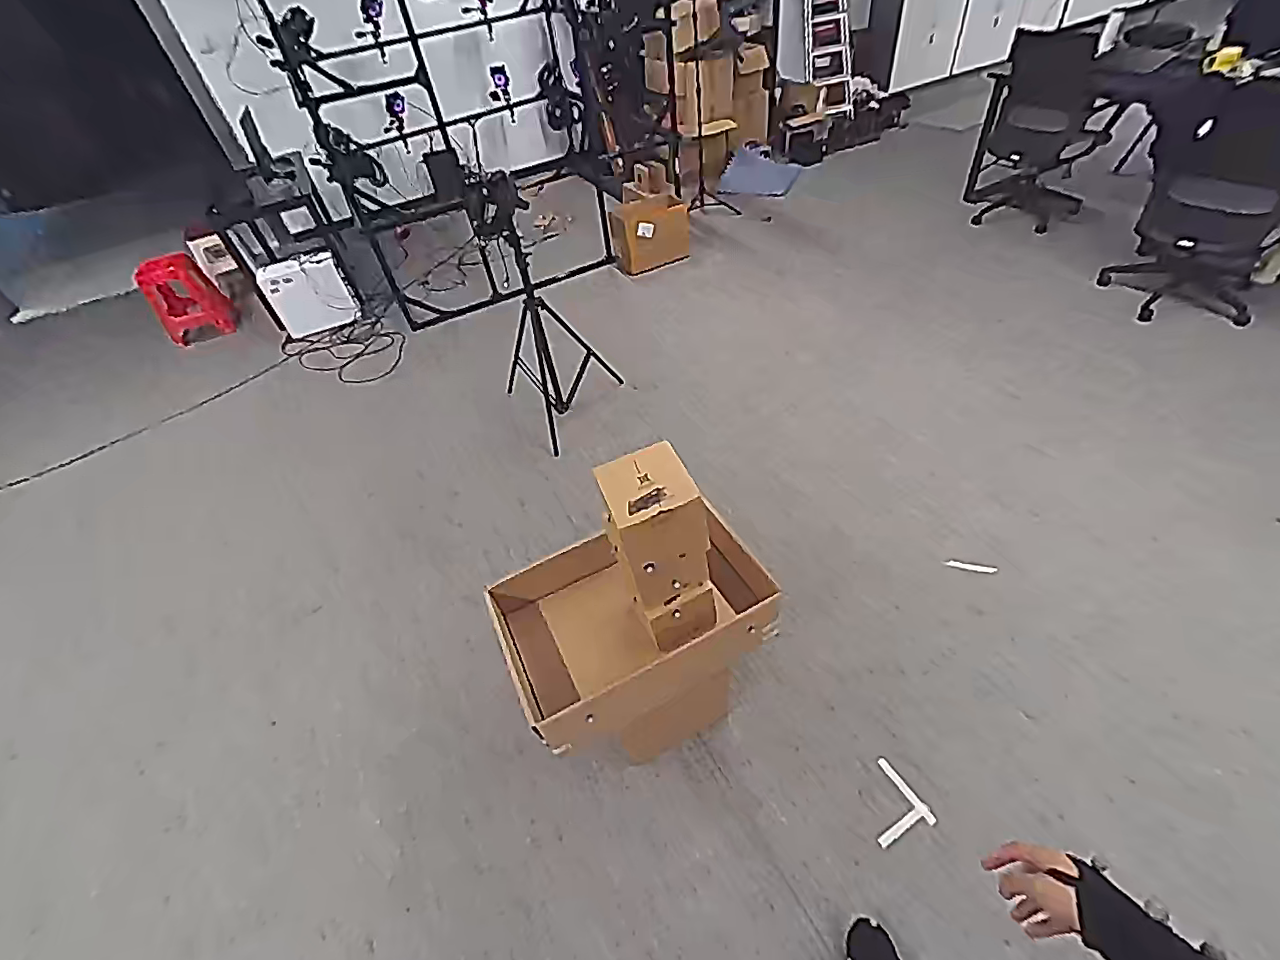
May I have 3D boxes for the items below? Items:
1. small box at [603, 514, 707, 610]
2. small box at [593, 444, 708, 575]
[{"bbox_3d":[0.036,0.156,1.212,0.168,0.176,0.179,-25,48,-10],"label":"small box"},{"bbox_3d":[0.024,0.065,1.072,0.168,0.176,0.179,-21,46,-7],"label":"small box"}]
